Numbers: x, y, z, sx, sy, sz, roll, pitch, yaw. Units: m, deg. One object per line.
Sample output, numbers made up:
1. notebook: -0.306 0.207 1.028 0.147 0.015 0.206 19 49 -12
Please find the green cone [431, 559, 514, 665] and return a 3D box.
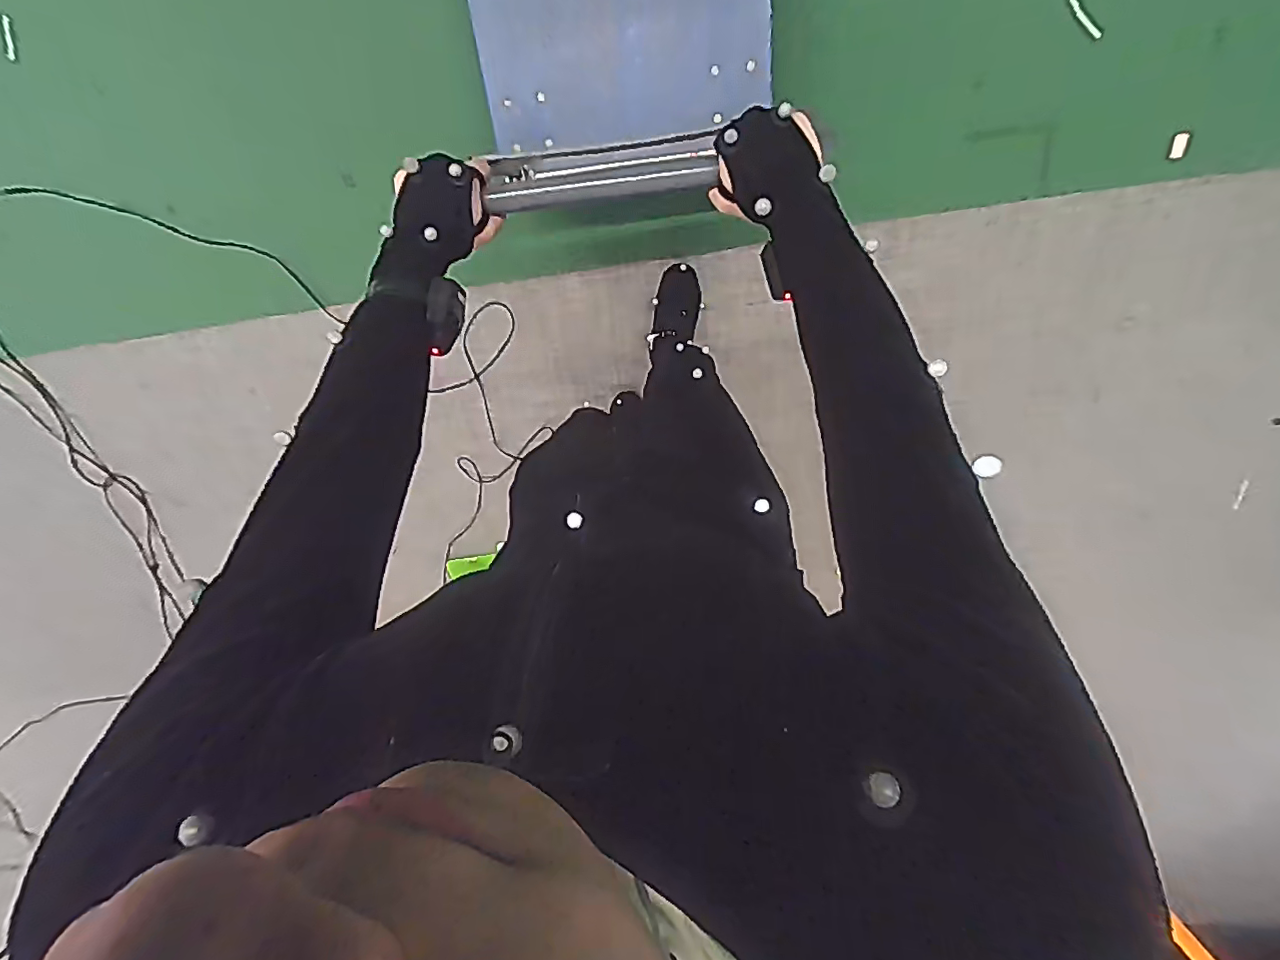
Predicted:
1. green cone: -0.572 0.439 1.733 0.202 0.368 0.200 -9 116 10
